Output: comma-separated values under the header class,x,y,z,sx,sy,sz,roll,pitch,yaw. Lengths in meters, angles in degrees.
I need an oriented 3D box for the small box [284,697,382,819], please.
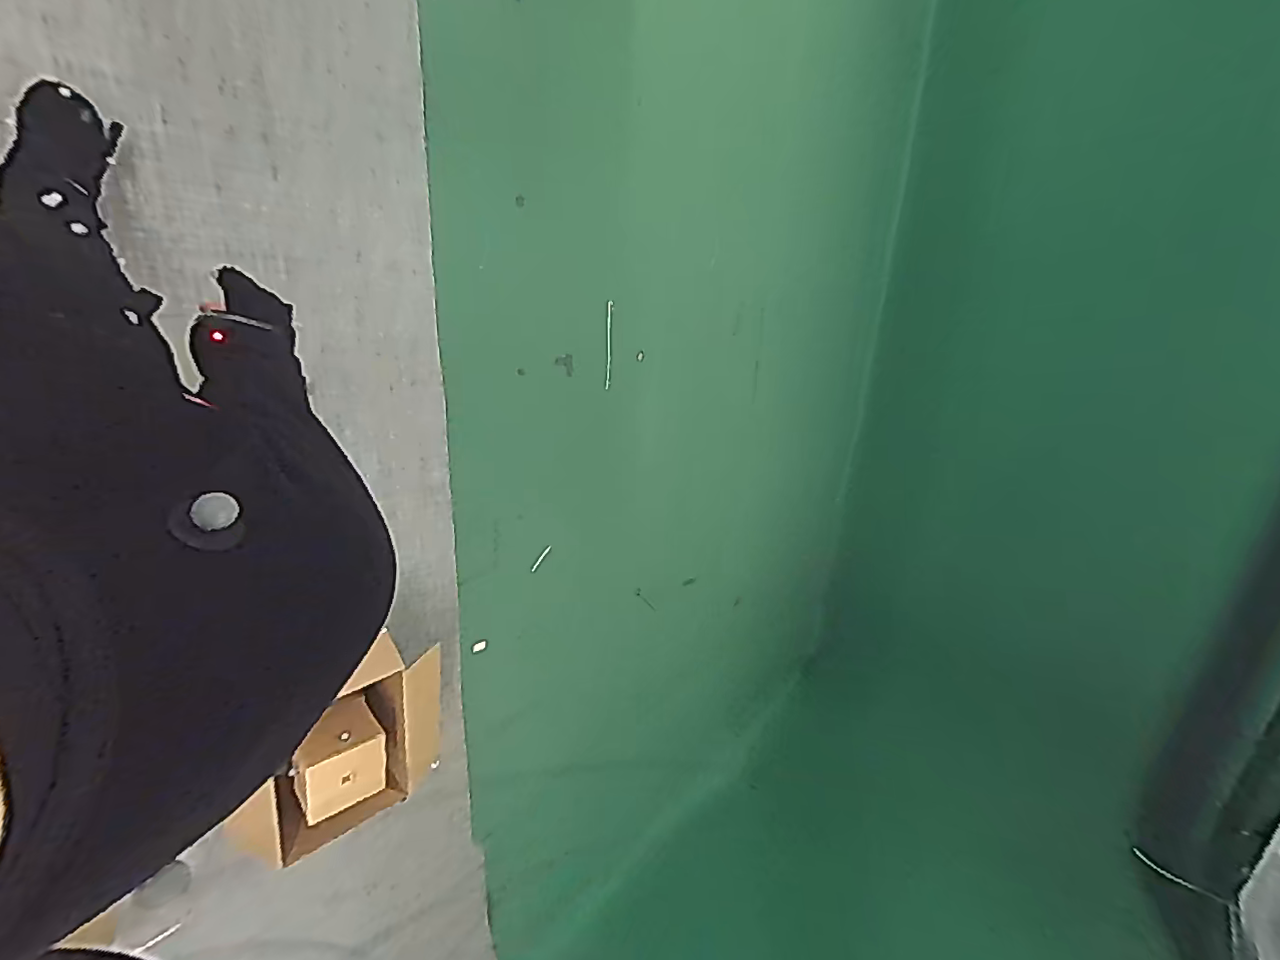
class,x,y,z,sx,sy,sz,roll,pitch,yaw
small box,-0.757,0.672,1.330,0.179,0.176,0.168,-11,113,-46
